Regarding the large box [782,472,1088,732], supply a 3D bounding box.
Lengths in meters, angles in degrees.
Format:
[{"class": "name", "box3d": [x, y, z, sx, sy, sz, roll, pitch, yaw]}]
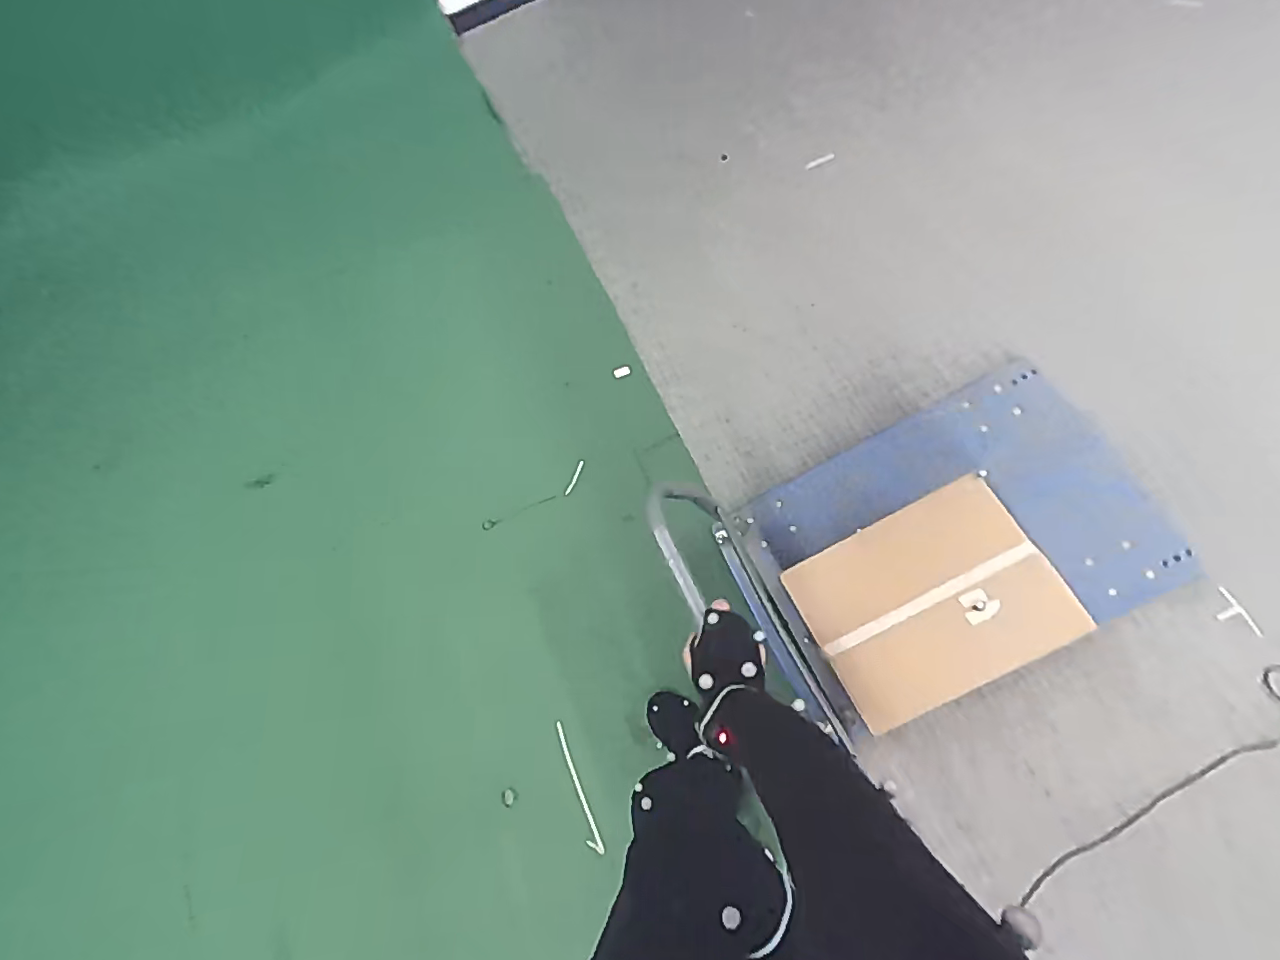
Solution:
[{"class": "large box", "box3d": [0.544, 0.248, 1.099, 0.408, 0.320, 0.320, -30, 71, 6]}]
